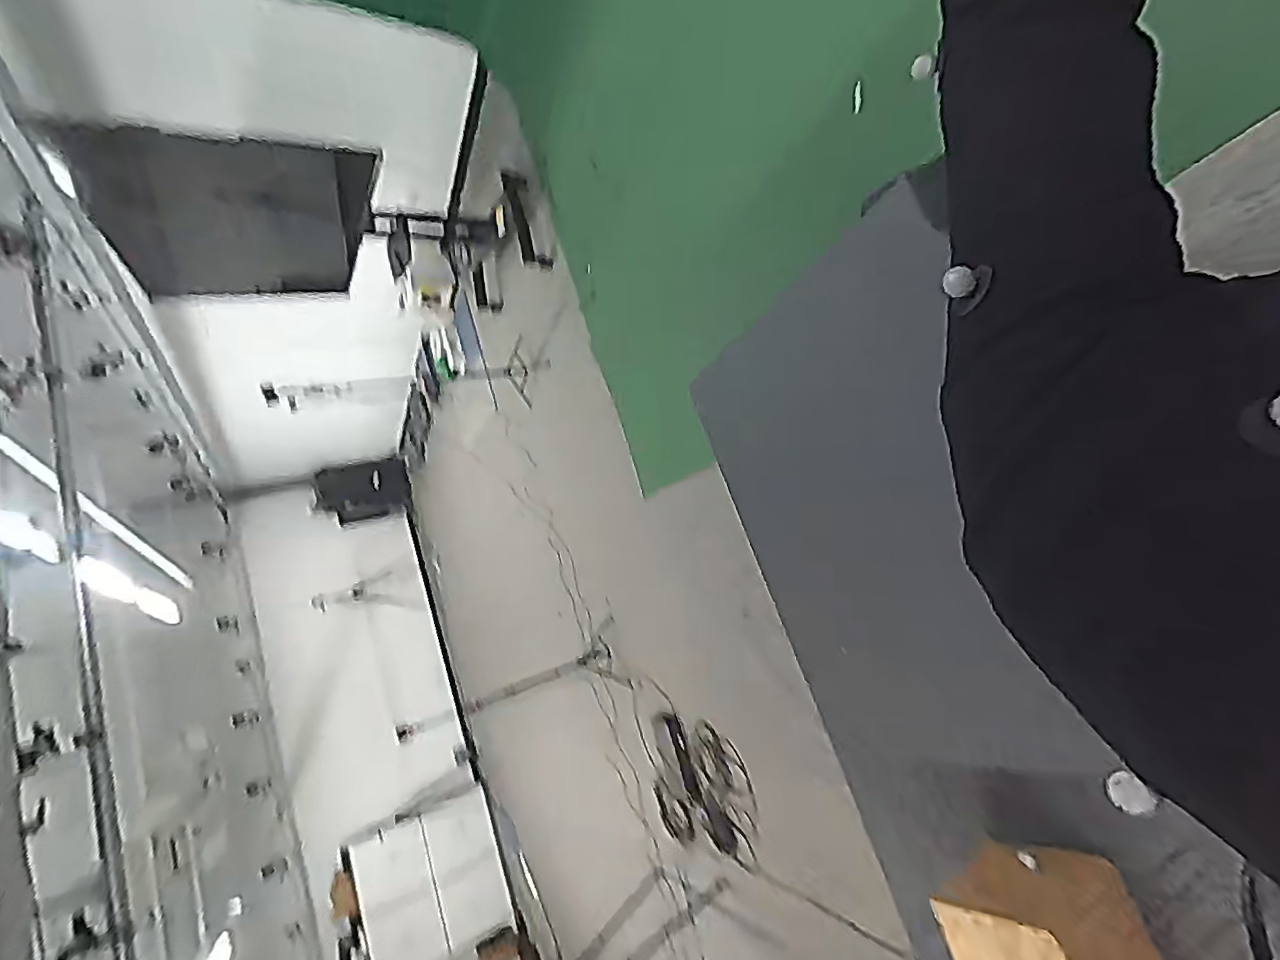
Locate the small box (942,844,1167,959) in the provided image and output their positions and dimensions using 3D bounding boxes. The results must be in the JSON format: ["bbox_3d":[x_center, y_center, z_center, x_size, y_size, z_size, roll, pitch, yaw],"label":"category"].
[{"bbox_3d":[0.547,0.617,0.700,0.168,0.176,0.179,-44,62,54],"label":"small box"}]
